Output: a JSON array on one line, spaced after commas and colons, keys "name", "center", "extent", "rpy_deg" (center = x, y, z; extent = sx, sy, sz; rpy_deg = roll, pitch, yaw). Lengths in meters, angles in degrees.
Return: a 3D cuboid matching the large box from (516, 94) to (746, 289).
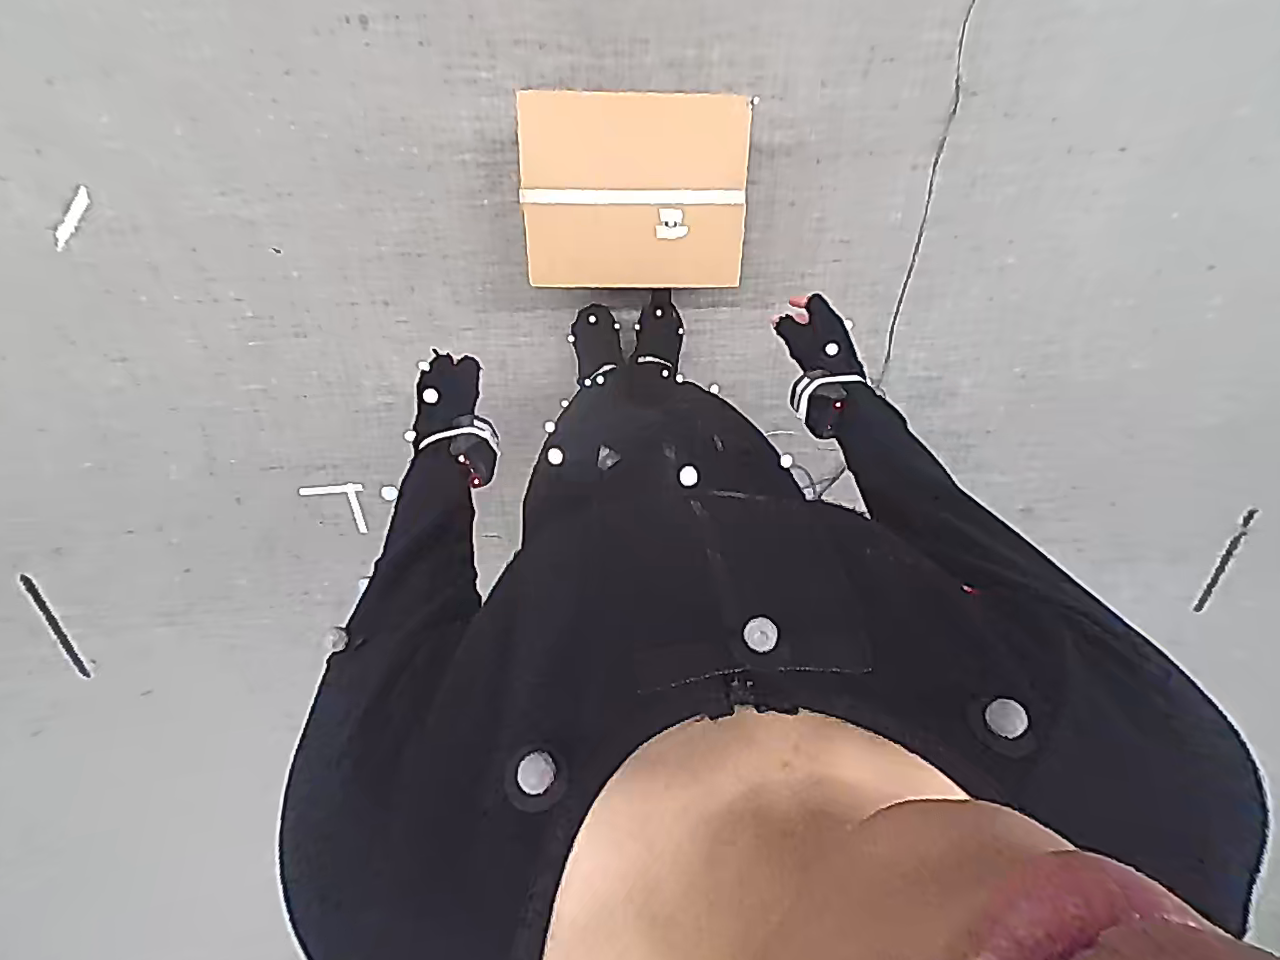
[{"name": "large box", "center": [-0.023, -0.578, 1.123], "extent": [0.408, 0.320, 0.320], "rpy_deg": [-2, 115, -4]}]
